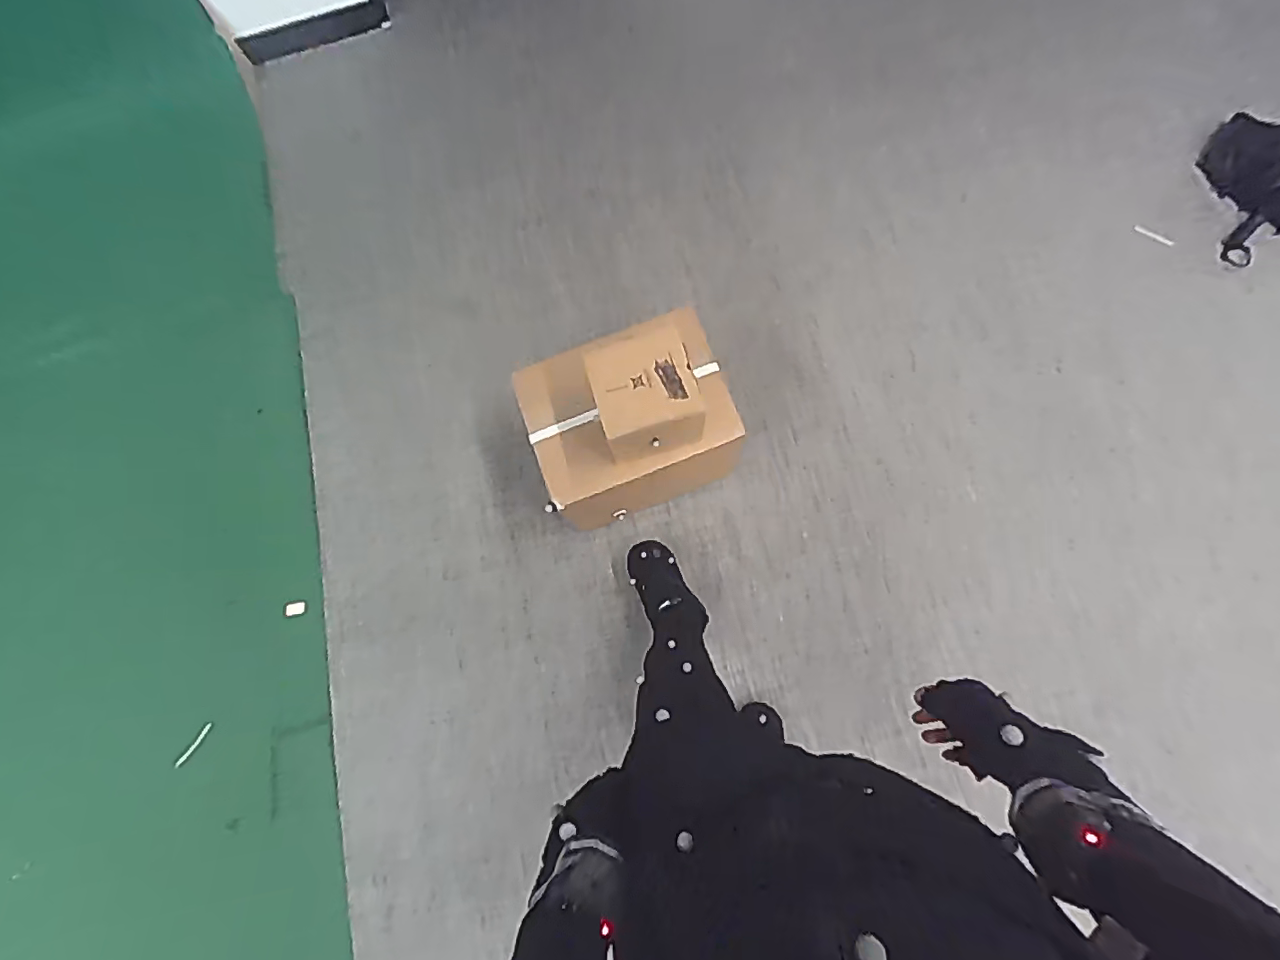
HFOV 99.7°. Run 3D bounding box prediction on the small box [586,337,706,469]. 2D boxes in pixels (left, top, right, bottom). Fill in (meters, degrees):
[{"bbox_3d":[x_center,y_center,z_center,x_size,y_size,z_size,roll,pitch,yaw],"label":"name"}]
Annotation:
[{"bbox_3d":[0.014,-0.135,1.006,0.179,0.176,0.168,-17,75,1],"label":"small box"}]
